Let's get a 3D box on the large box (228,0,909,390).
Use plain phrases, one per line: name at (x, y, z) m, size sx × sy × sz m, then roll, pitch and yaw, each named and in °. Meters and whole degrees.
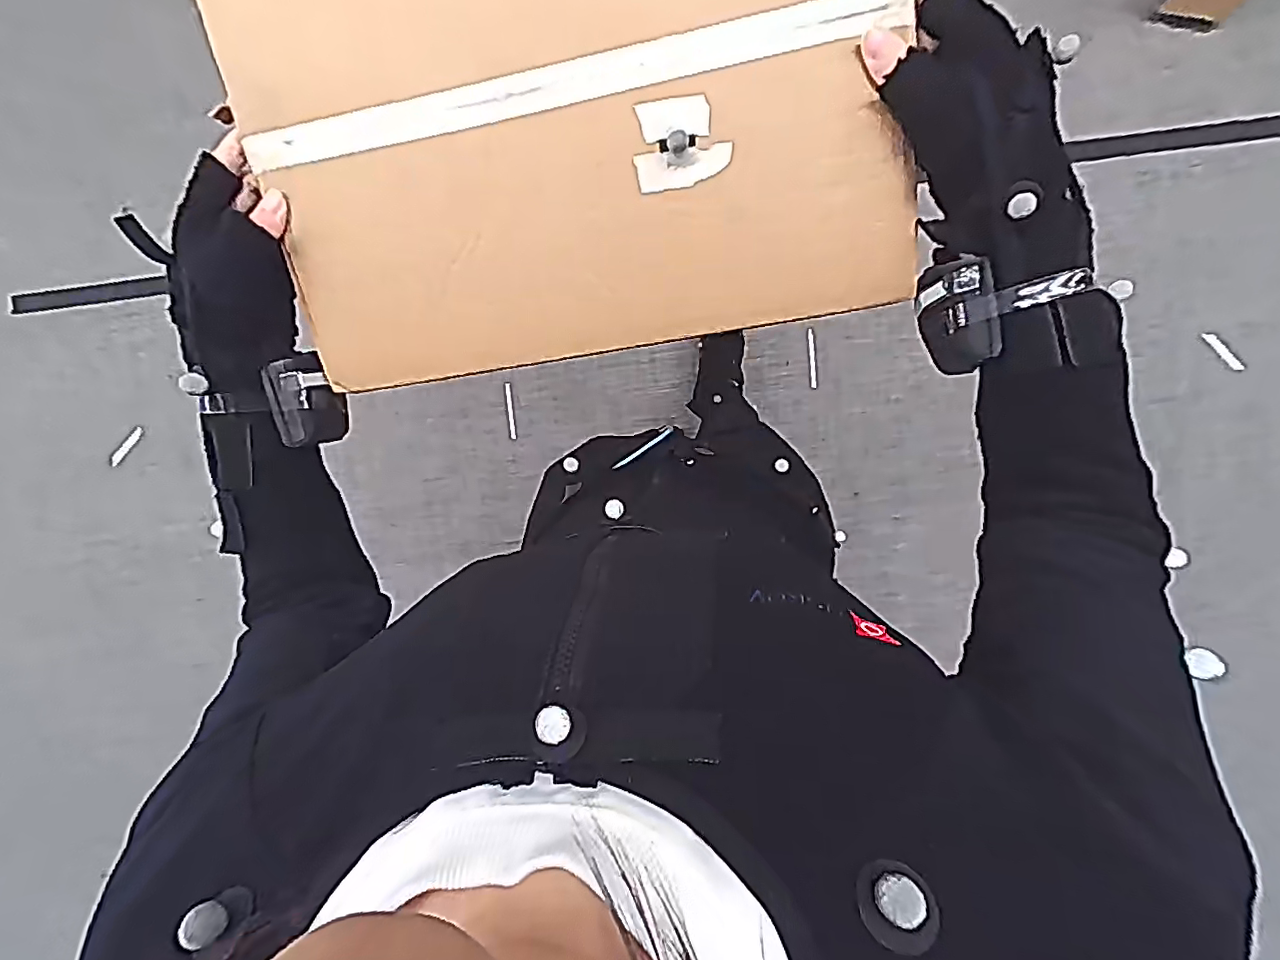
large box at (-0.036, -0.286, 0.479) m, size 0.408 × 0.320 × 0.320 m, roll -9°, pitch 108°, yaw 6°
